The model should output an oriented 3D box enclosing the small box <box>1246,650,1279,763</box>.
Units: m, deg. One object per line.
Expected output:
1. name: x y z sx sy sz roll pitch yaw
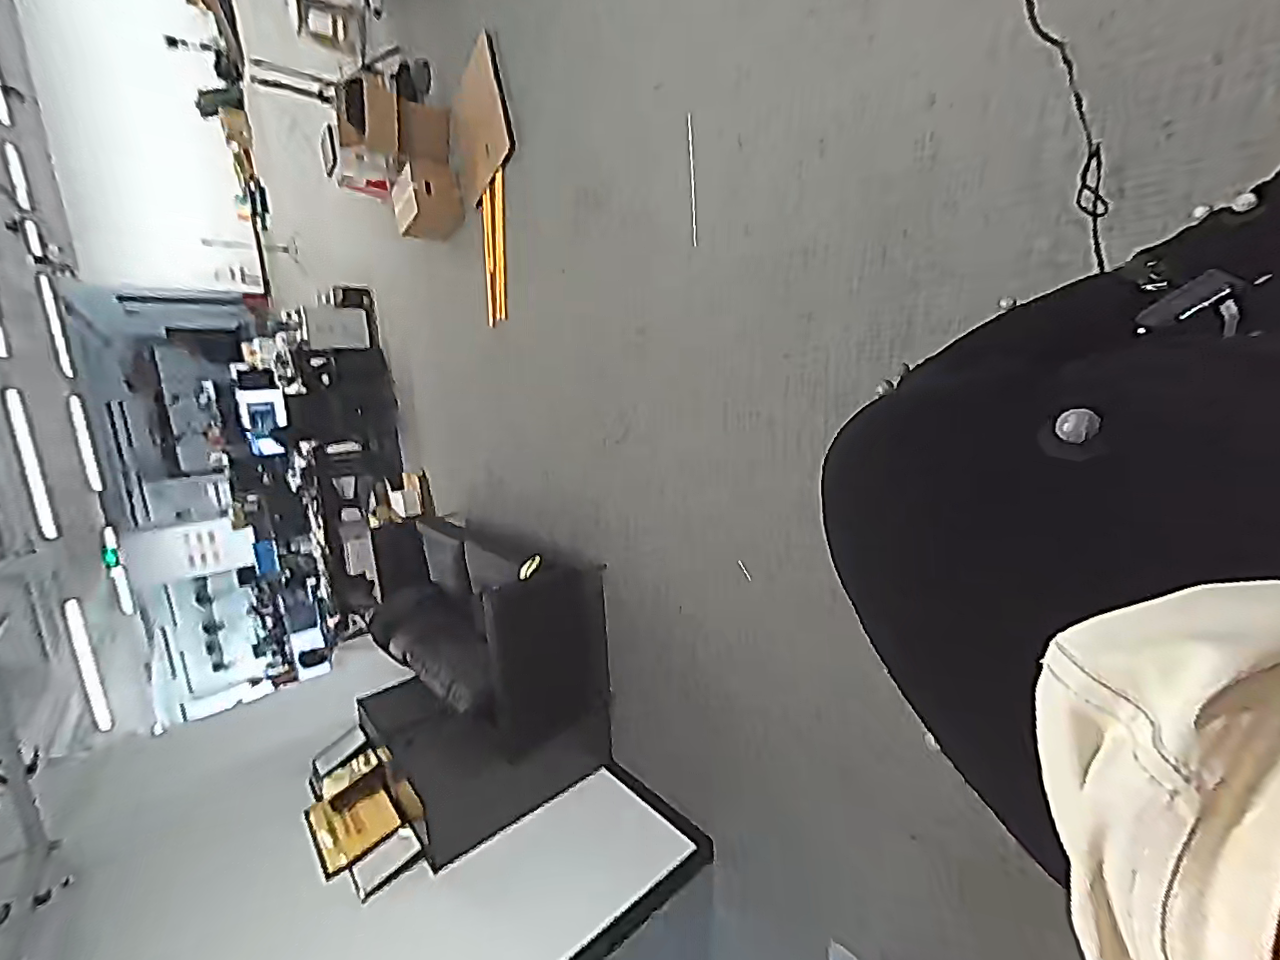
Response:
1. small box: 1.328 0.460 1.056 0.168 0.176 0.179 14 111 49
